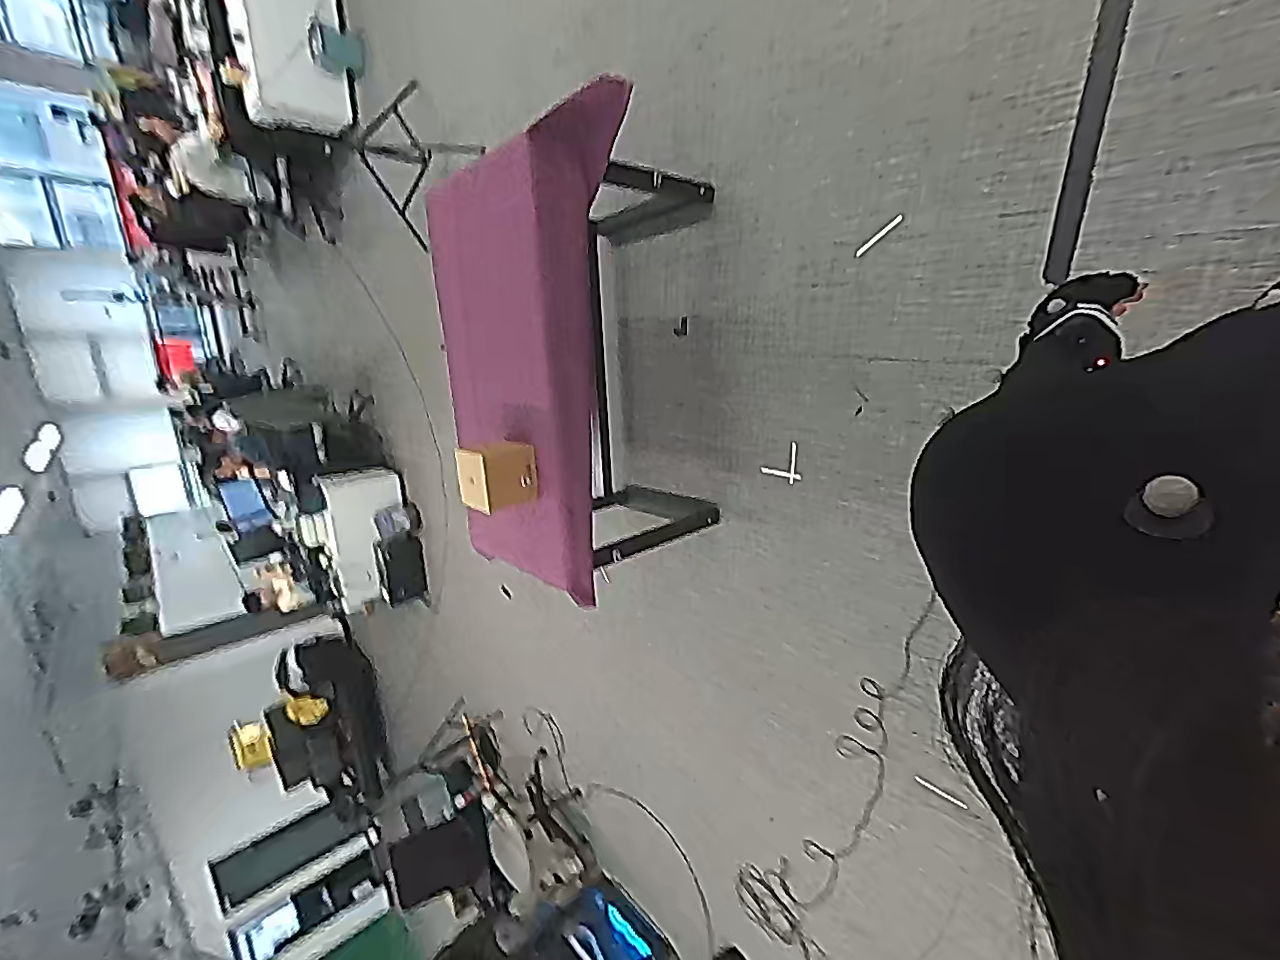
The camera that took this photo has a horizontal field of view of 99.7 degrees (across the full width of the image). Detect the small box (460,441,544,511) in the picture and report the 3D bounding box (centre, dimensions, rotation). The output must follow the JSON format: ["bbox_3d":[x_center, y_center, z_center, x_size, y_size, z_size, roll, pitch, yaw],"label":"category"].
[{"bbox_3d":[-0.402,-0.018,1.583,0.179,0.176,0.168,10,110,46],"label":"small box"}]
